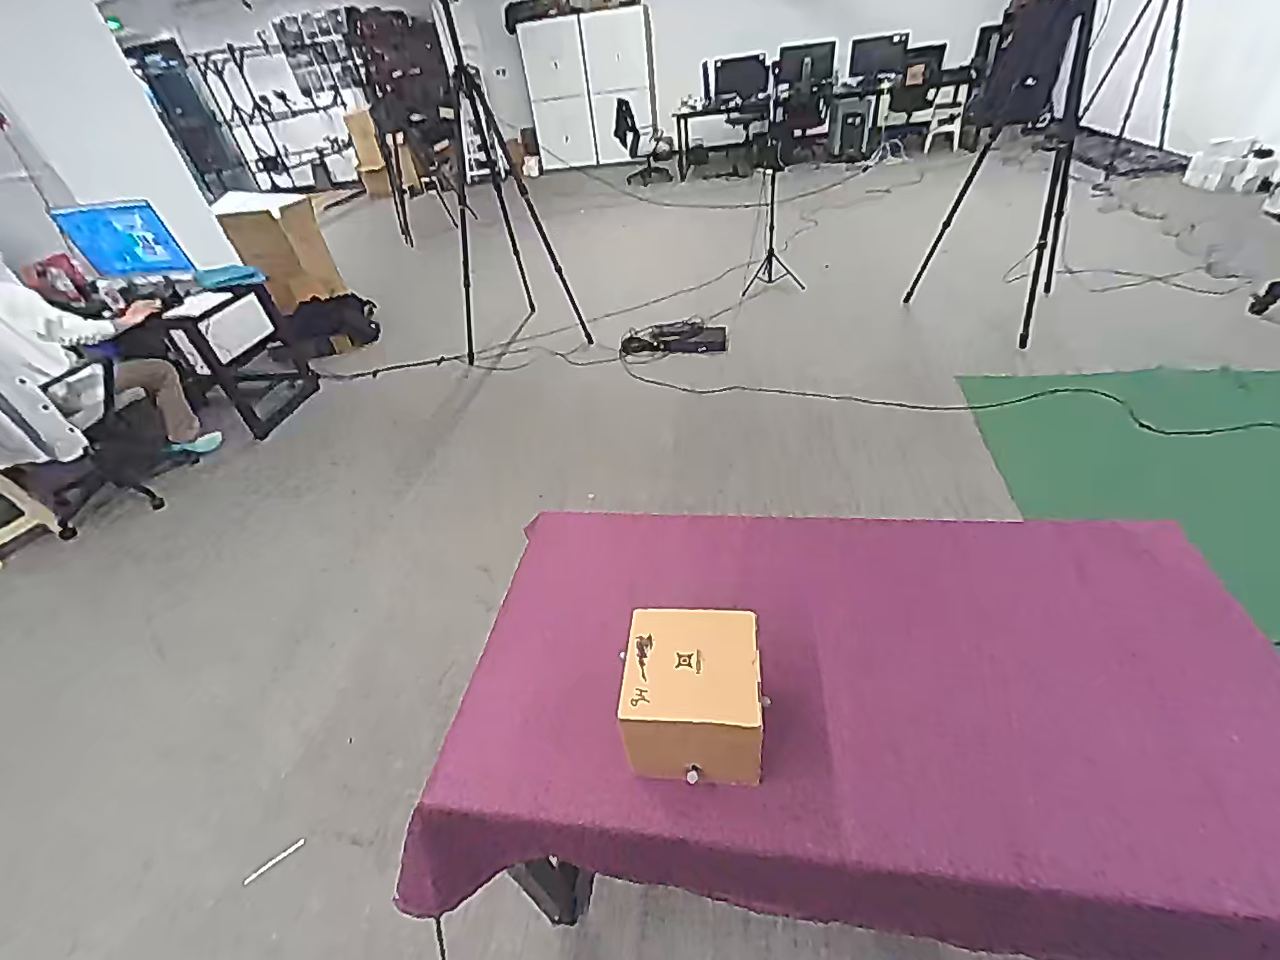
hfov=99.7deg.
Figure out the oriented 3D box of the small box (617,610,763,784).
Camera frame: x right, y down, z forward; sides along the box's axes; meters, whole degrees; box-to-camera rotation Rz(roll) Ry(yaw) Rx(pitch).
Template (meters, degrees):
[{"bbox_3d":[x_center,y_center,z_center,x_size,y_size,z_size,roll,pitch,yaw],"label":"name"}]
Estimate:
[{"bbox_3d":[0.075,0.303,0.757,0.179,0.176,0.168,0,39,9],"label":"small box"}]
